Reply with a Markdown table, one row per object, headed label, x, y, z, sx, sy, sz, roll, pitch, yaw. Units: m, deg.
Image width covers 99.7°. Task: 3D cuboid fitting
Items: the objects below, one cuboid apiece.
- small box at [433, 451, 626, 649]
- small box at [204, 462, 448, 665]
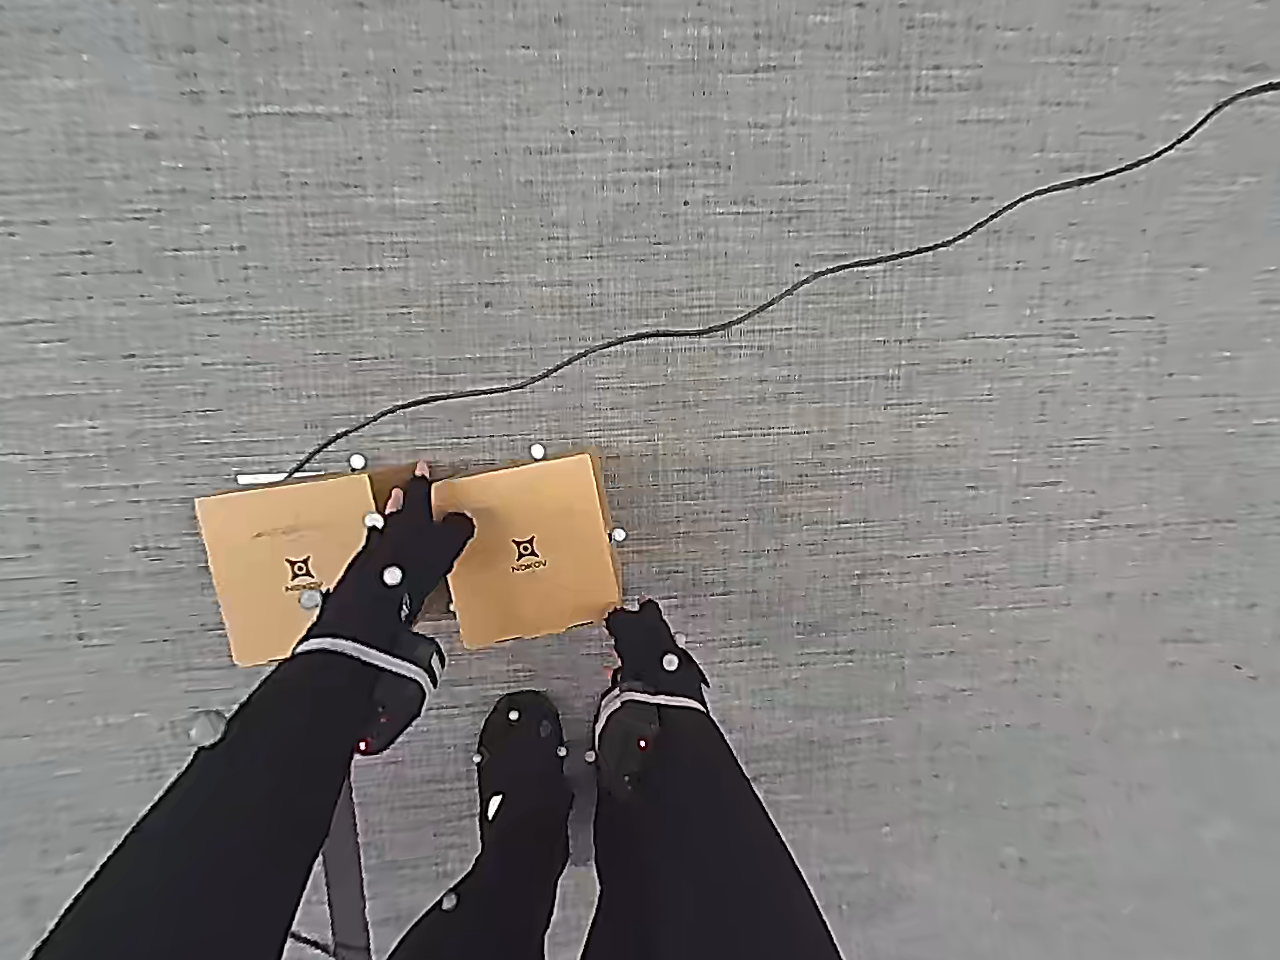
| label | x | y | z | sx | sy | sz | roll | pitch | yaw |
| --- | --- | --- | --- | --- | --- | --- | --- | --- | --- |
| small box | -0.115 | 0.065 | 0.621 | 0.168 | 0.176 | 0.179 | -11 | 98 | -2 |
| small box | -0.330 | 0.081 | 0.609 | 0.168 | 0.176 | 0.179 | -7 | 97 | -3 |
